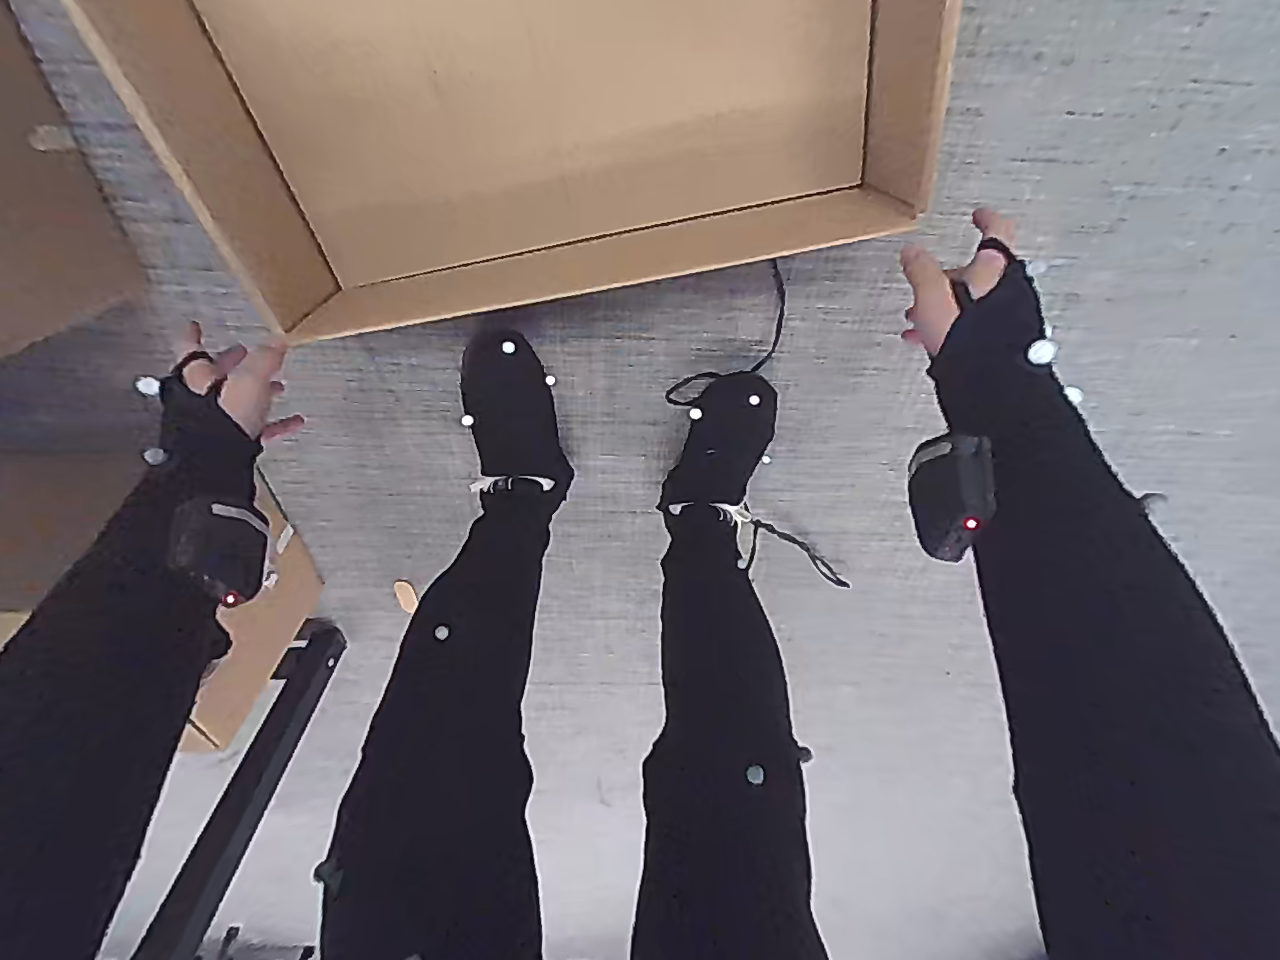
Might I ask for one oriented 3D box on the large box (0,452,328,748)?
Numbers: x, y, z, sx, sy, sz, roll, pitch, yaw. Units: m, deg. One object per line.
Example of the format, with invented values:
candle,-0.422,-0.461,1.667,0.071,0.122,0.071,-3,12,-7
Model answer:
large box,-0.775,0.170,0.797,0.408,0.320,0.320,-1,126,1
